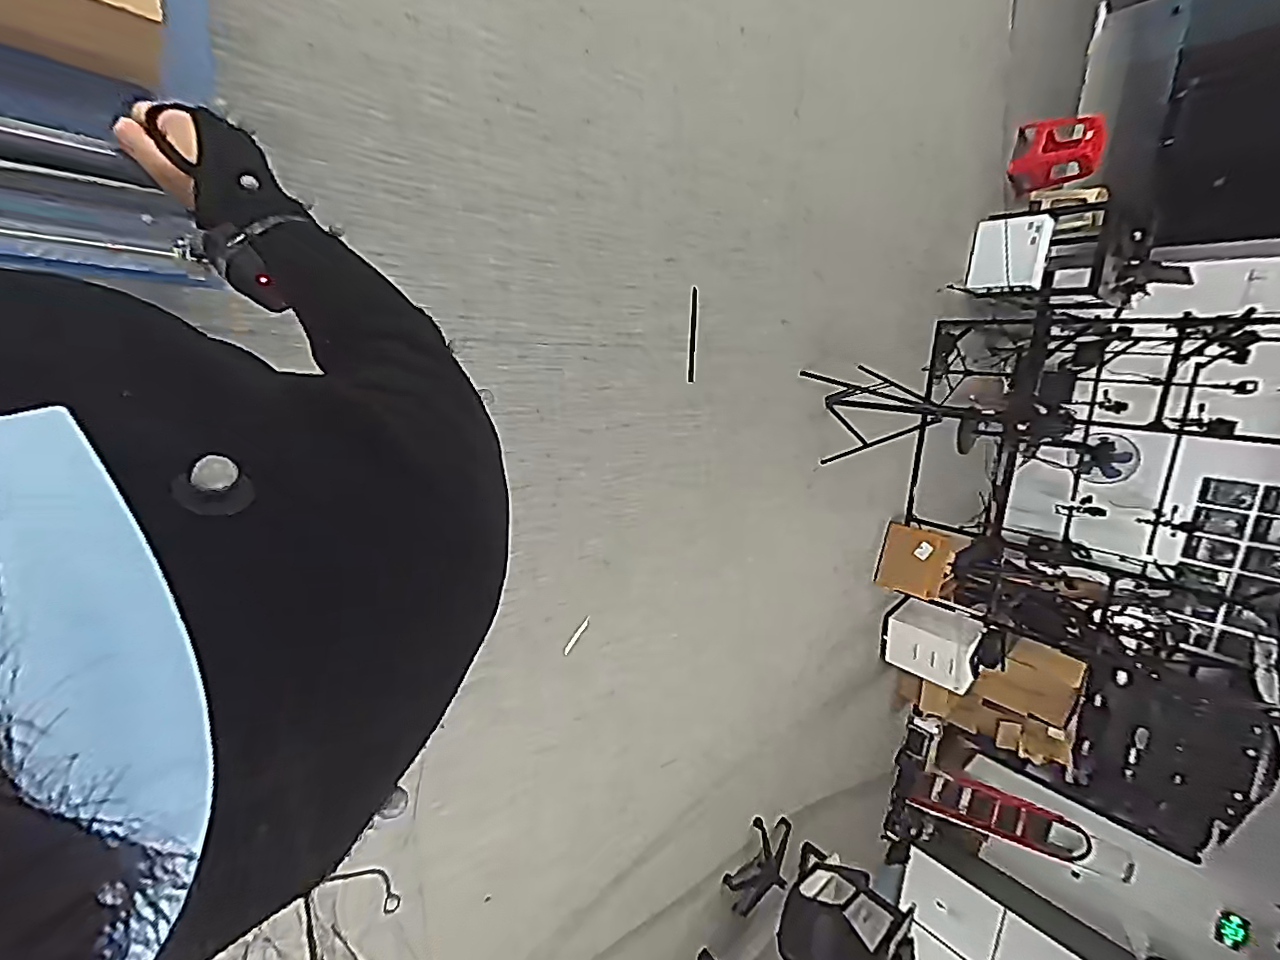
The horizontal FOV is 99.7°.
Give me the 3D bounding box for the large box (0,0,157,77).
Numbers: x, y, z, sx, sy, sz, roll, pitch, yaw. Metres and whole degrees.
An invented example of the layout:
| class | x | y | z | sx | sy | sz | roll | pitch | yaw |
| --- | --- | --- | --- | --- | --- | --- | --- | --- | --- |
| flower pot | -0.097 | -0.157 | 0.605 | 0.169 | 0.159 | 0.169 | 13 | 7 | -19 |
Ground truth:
| class | x | y | z | sx | sy | sz | roll | pitch | yaw |
| --- | --- | --- | --- | --- | --- | --- | --- | --- | --- |
| large box | -0.871 | -0.772 | 0.652 | 0.408 | 0.320 | 0.320 | -7 | 107 | -41 |
